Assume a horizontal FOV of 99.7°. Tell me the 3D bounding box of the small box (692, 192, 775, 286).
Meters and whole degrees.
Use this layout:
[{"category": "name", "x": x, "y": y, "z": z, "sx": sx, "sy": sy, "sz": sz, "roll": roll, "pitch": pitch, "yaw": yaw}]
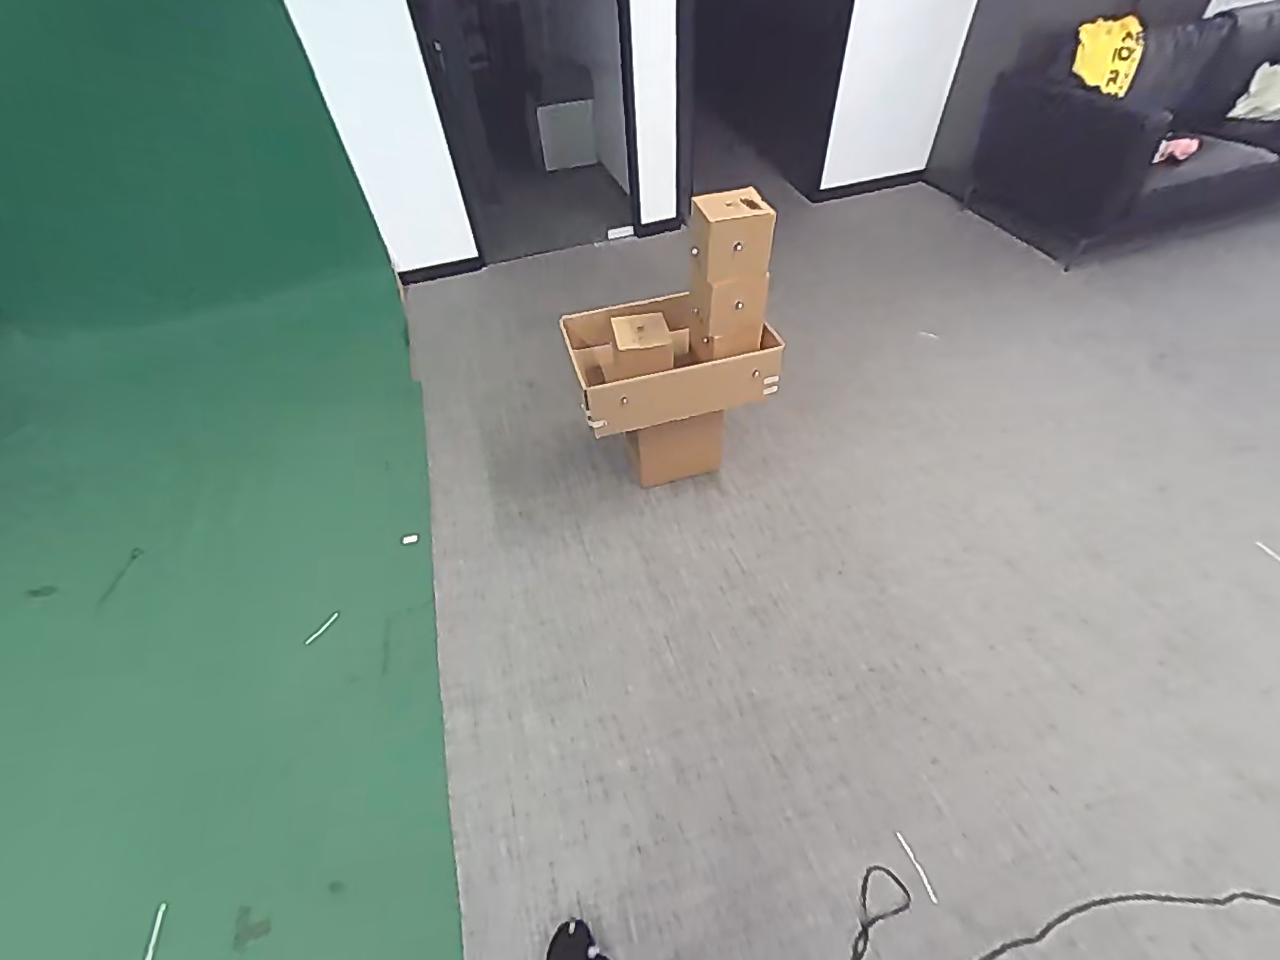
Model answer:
[{"category": "small box", "x": 0.247, "y": -0.652, "z": 1.469, "sx": 0.179, "sy": 0.176, "sz": 0.168, "roll": -12, "pitch": 49, "yaw": -6}]
